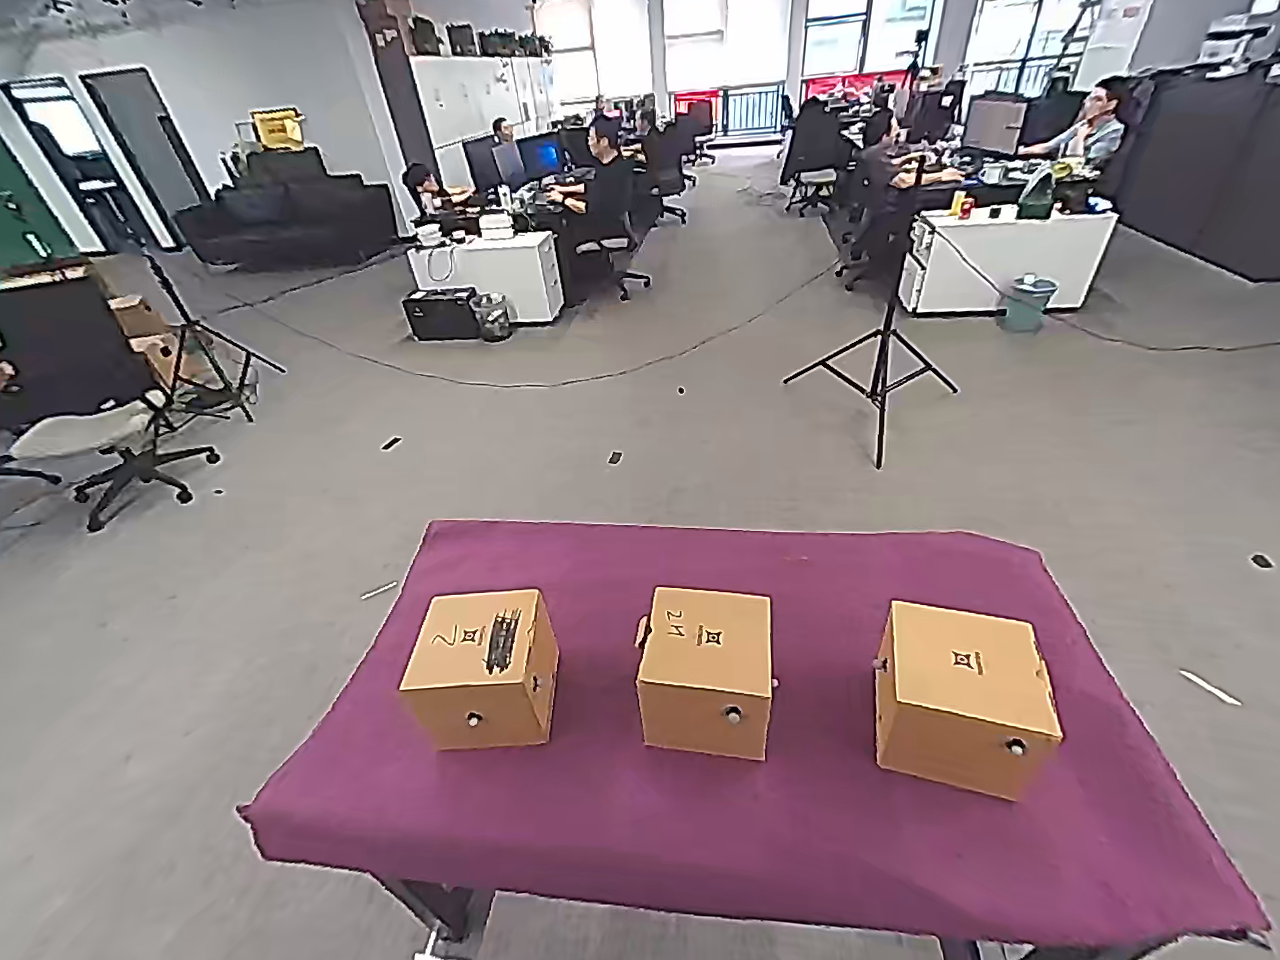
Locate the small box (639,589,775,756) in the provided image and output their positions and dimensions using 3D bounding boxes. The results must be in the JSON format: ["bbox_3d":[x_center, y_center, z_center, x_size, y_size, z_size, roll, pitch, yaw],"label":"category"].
[{"bbox_3d":[0.104,0.285,0.804,0.179,0.176,0.168,2,37,11],"label":"small box"}]

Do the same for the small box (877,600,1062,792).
[{"bbox_3d":[0.429,0.294,0.742,0.179,0.176,0.168,6,39,17],"label":"small box"}]
